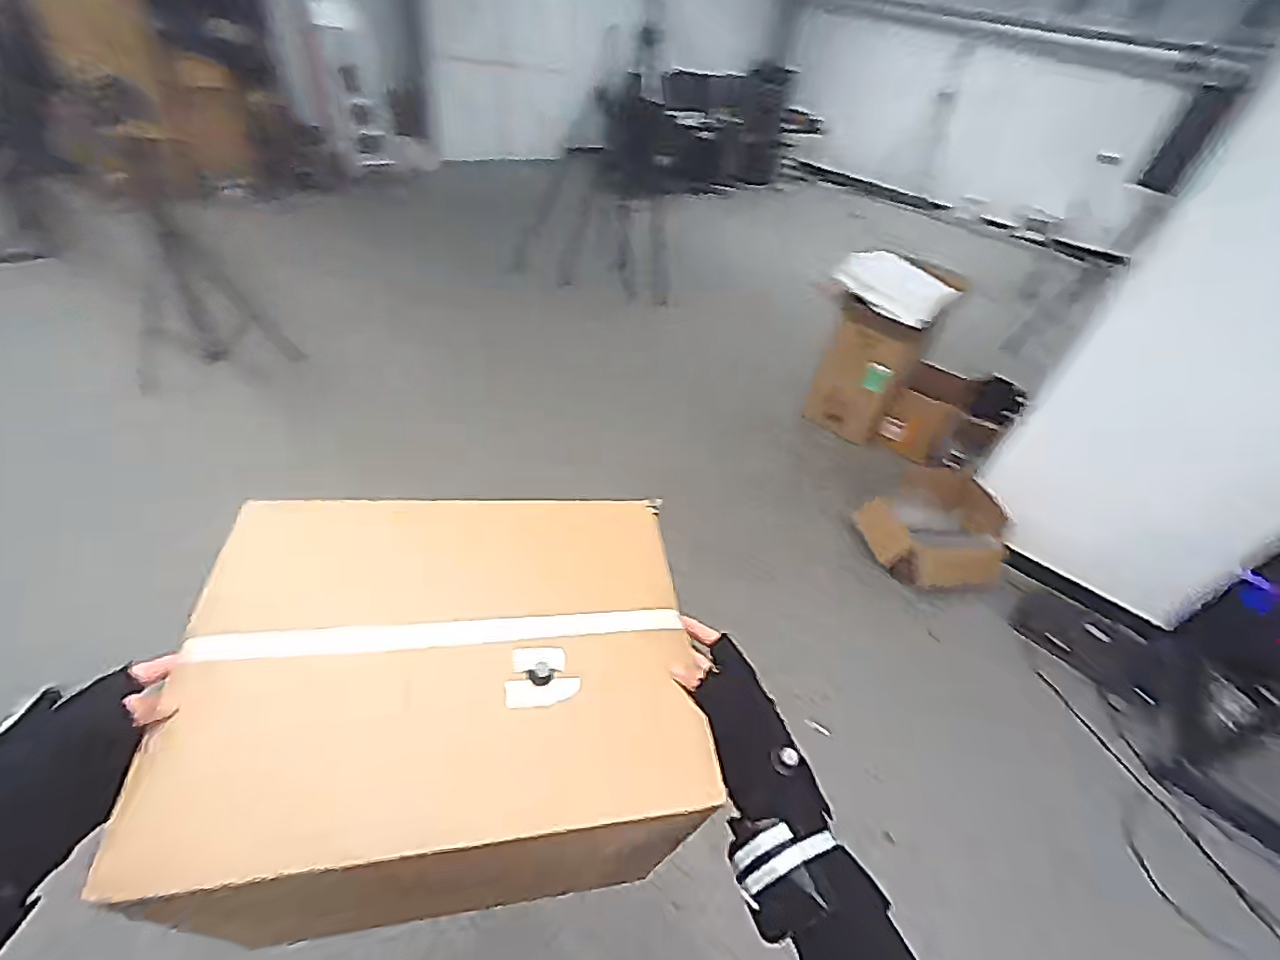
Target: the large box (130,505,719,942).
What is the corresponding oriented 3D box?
[{"bbox_3d":[-0.183,0.242,0.584,0.408,0.320,0.320,1,47,-16],"label":"large box"}]
